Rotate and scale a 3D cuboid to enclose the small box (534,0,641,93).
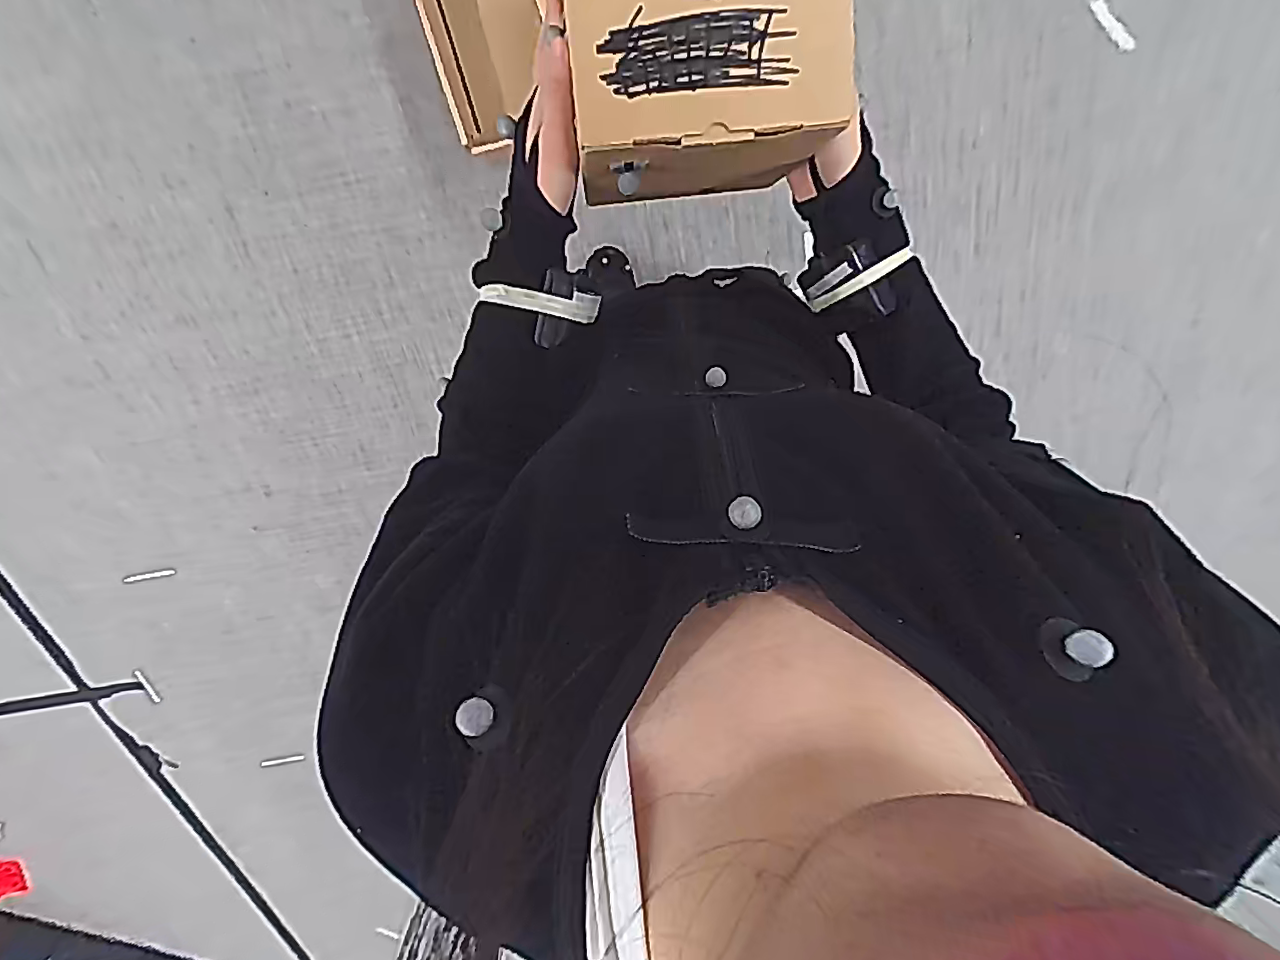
[{"bbox_3d":[-0.106,-0.894,1.044,0.168,0.176,0.179,-19,114,6],"label":"small box"}]
